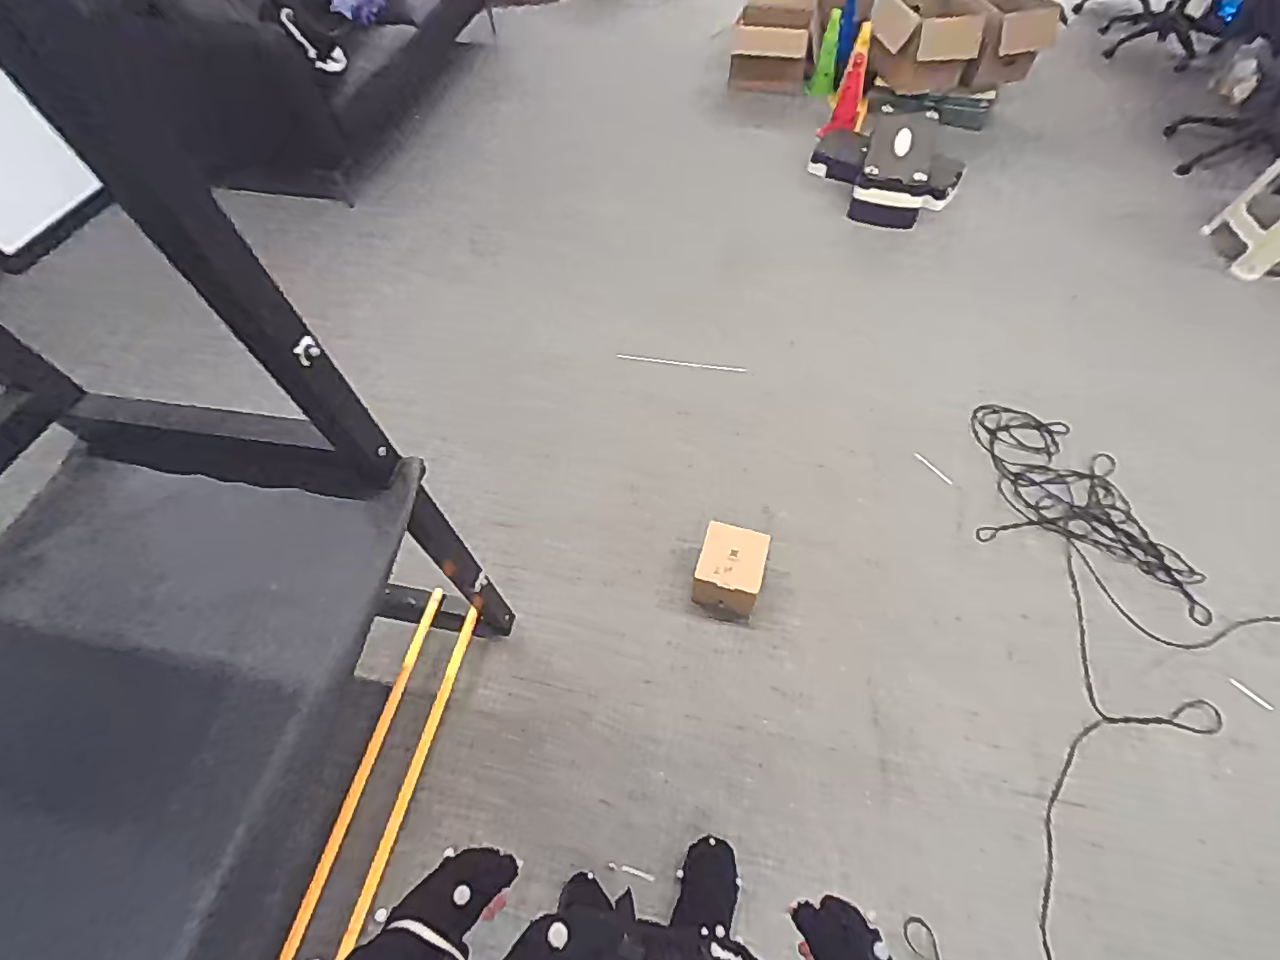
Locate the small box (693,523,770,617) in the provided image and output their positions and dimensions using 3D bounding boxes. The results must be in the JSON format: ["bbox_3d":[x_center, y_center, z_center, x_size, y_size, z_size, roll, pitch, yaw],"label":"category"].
[{"bbox_3d":[0.242,0.246,1.464,0.168,0.176,0.179,13,59,12],"label":"small box"}]
